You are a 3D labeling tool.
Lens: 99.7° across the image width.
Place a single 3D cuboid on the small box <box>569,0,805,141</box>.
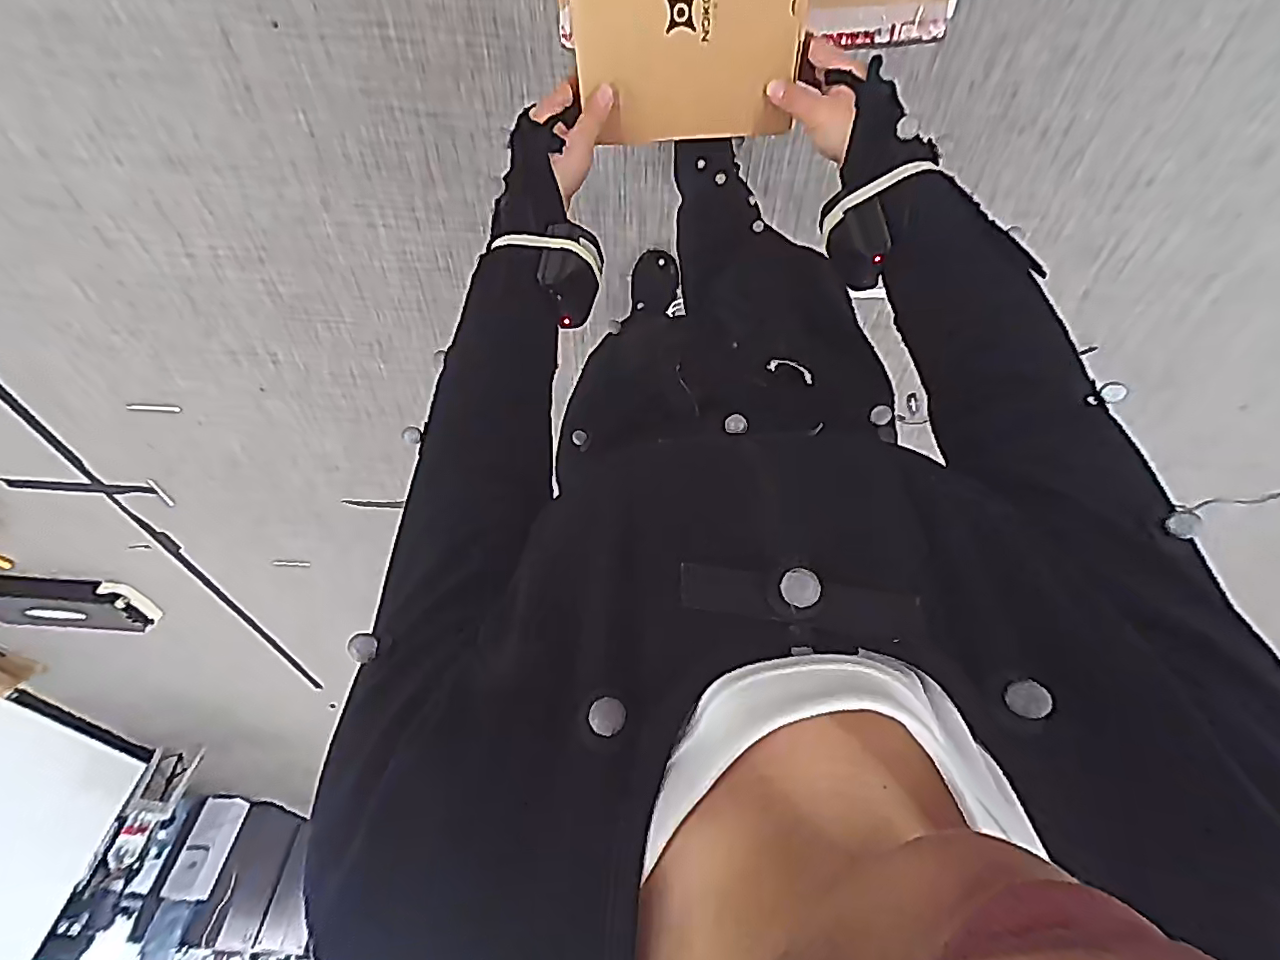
[{"bbox_3d":[0.036,-0.404,0.454,0.179,0.176,0.168,-3,136,3],"label":"small box"}]
